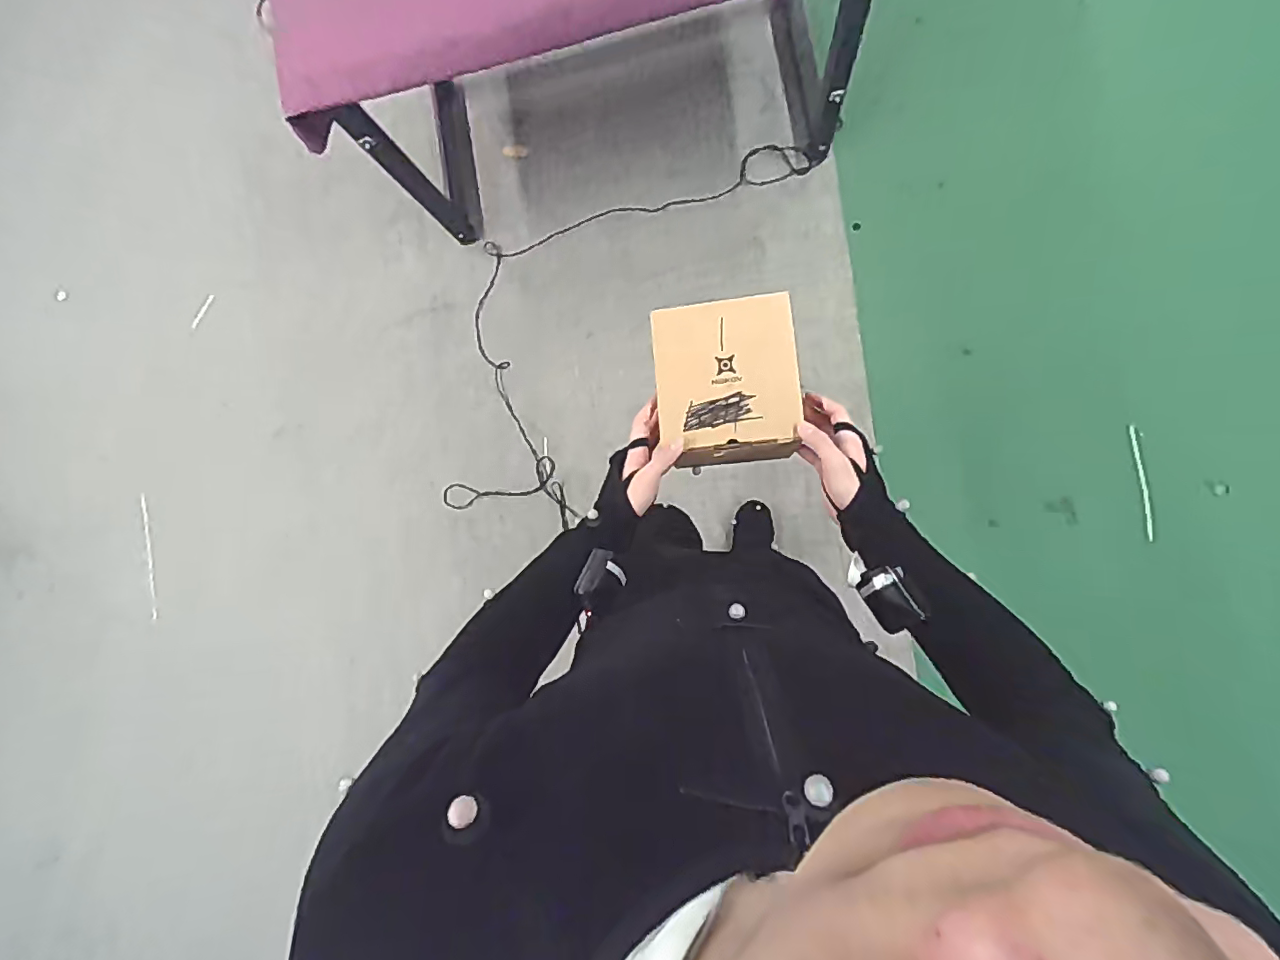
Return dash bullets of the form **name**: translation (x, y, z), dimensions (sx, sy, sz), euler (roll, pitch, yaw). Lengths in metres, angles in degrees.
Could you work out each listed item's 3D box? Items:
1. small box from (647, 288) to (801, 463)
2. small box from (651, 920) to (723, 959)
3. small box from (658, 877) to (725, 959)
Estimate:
- **small box**: translation (0.108, -0.119, 0.700), dimensions (0.168, 0.176, 0.179), euler (-6, 83, 9)
- **small box**: translation (0.119, 1.223, 1.309), dimensions (0.168, 0.176, 0.179), euler (-4, 87, 9)
- **small box**: translation (0.144, 1.230, 1.469), dimensions (0.168, 0.176, 0.179), euler (-4, 88, 8)
